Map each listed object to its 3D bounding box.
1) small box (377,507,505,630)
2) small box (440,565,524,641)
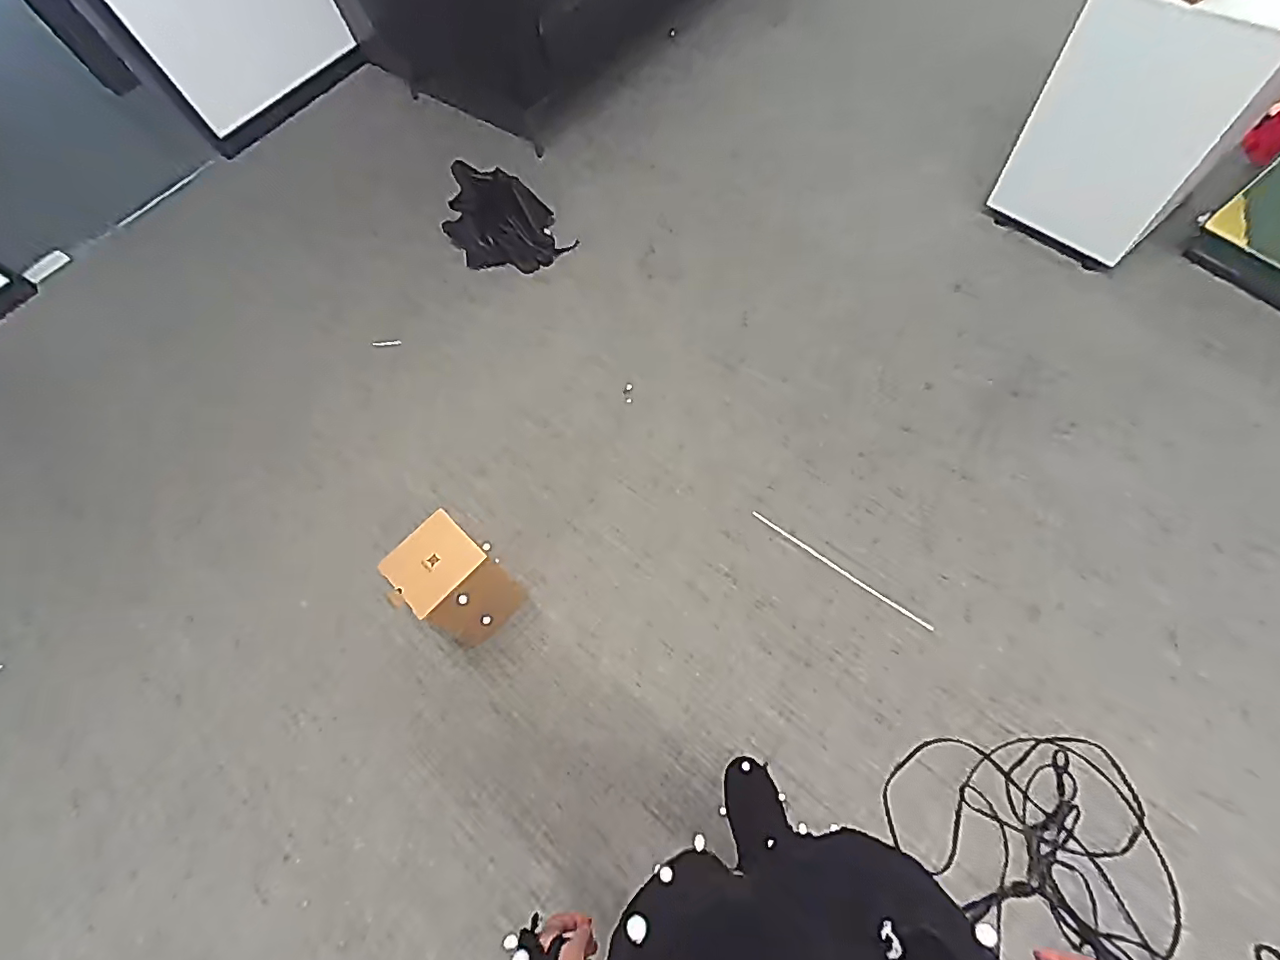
[{"bbox_3d":[-0.412,0.194,1.161,0.168,0.176,0.179,39,76,22],"label":"small box"},{"bbox_3d":[-0.411,0.266,1.309,0.168,0.176,0.179,39,76,22],"label":"small box"}]
